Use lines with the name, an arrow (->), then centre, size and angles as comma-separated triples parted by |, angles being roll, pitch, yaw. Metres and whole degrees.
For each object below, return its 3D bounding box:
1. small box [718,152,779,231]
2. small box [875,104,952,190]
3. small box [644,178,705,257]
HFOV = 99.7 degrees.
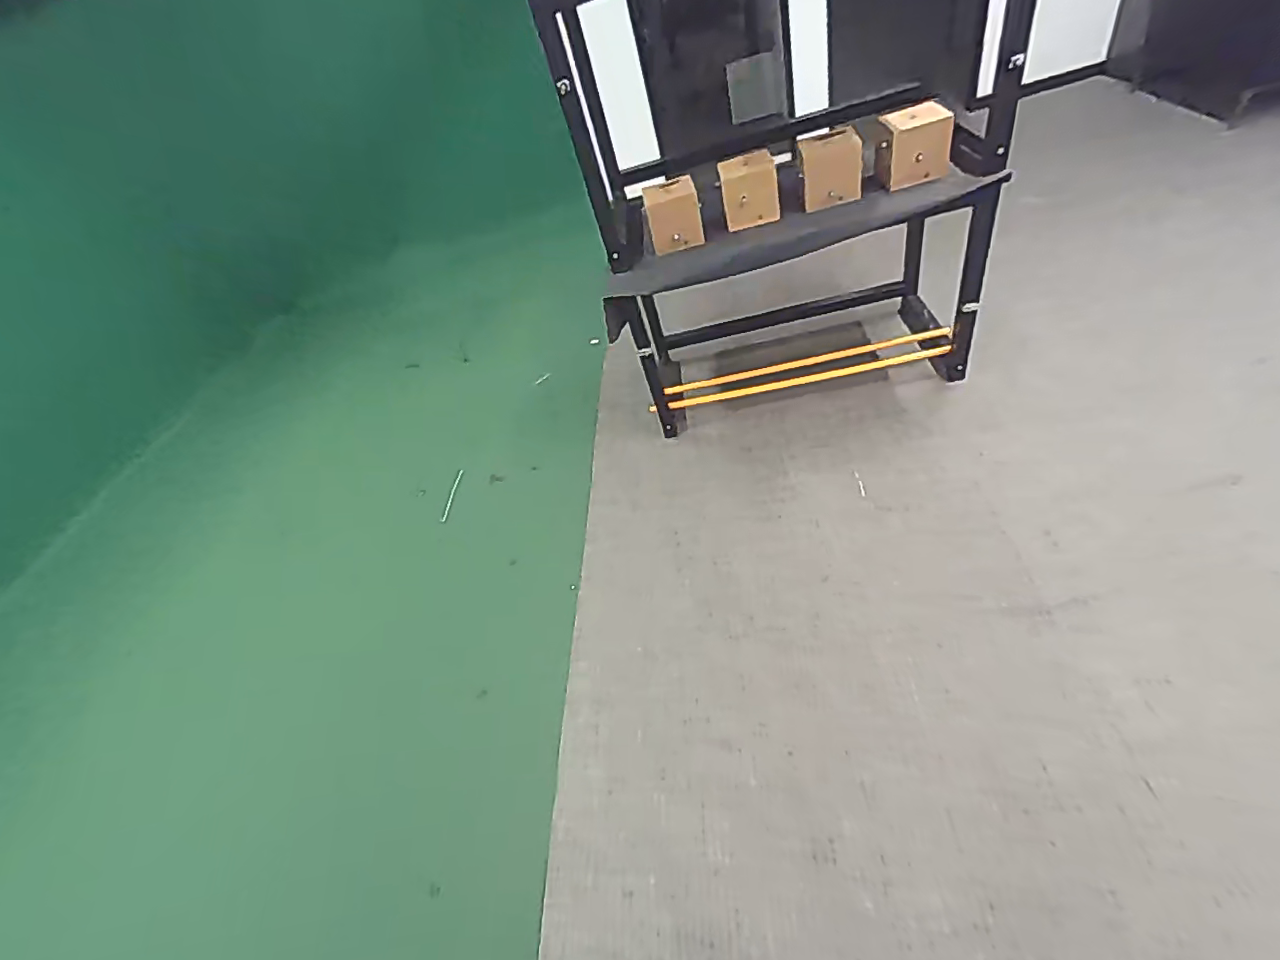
small box -> 0.357, -0.936, 1.768 | 0.168, 0.176, 0.179 | -10, 44, 11
small box -> 0.831, -1.014, 1.659 | 0.168, 0.176, 0.179 | -11, 44, 11
small box -> 0.113, -0.867, 1.790 | 0.168, 0.176, 0.179 | -13, 45, 8
